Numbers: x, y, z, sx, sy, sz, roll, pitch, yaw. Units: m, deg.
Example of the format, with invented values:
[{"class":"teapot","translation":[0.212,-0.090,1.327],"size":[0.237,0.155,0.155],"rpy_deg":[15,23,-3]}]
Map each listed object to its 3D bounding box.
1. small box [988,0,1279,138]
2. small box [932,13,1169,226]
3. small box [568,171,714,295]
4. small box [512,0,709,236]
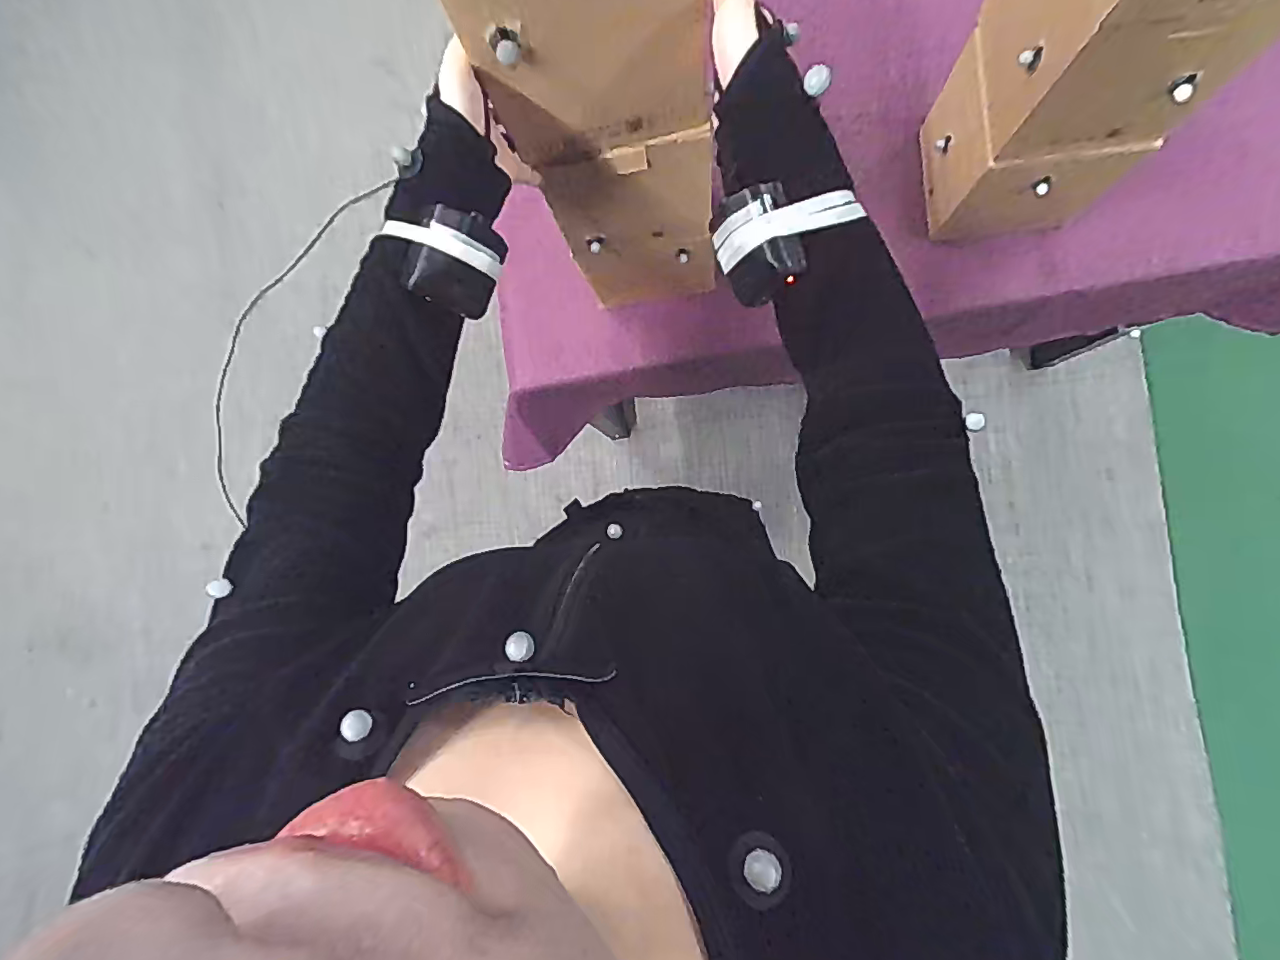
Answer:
[{"class":"small box","translation":[0.450,-0.447,0.496],"size":[0.168,0.176,0.179],"rpy_deg":[-2,86,7]},{"class":"small box","translation":[0.473,-0.431,0.657],"size":[0.179,0.176,0.168],"rpy_deg":[-2,88,8]},{"class":"small box","translation":[0.004,-0.365,0.722],"size":[0.179,0.176,0.168],"rpy_deg":[-7,86,7]},{"class":"small box","translation":[-0.019,-0.376,0.559],"size":[0.168,0.176,0.179],"rpy_deg":[-7,85,7]}]
